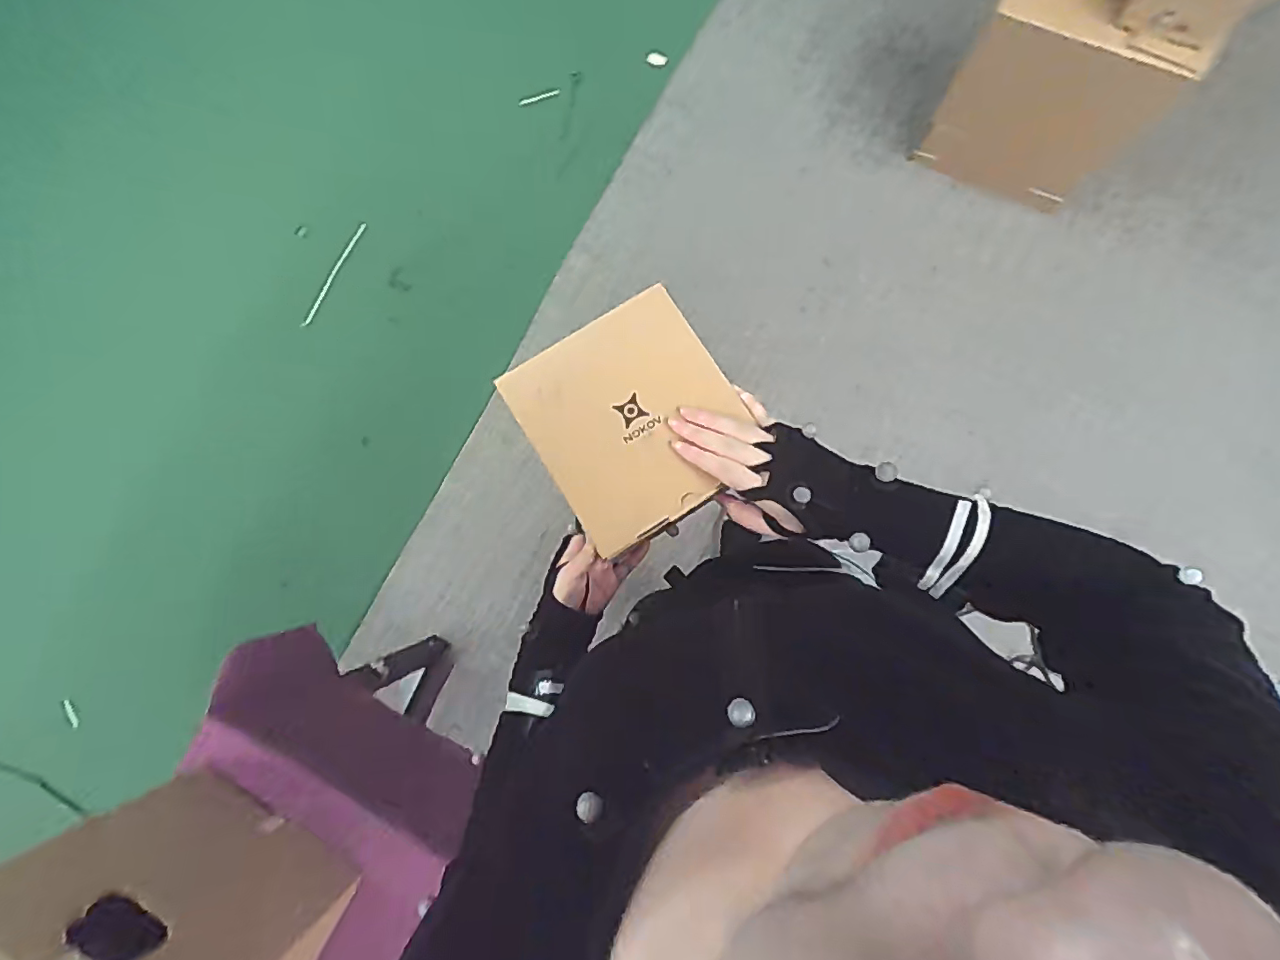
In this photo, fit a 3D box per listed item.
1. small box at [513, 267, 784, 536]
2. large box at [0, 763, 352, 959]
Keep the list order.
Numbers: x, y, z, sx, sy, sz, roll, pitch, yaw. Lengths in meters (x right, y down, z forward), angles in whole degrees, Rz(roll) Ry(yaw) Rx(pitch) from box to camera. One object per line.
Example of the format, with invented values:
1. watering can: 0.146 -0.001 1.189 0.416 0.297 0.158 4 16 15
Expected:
1. small box: 0.002 -0.058 0.521 0.168 0.176 0.179 -31 85 -6
2. large box: -0.654 0.659 0.657 0.320 0.320 0.408 28 87 7
